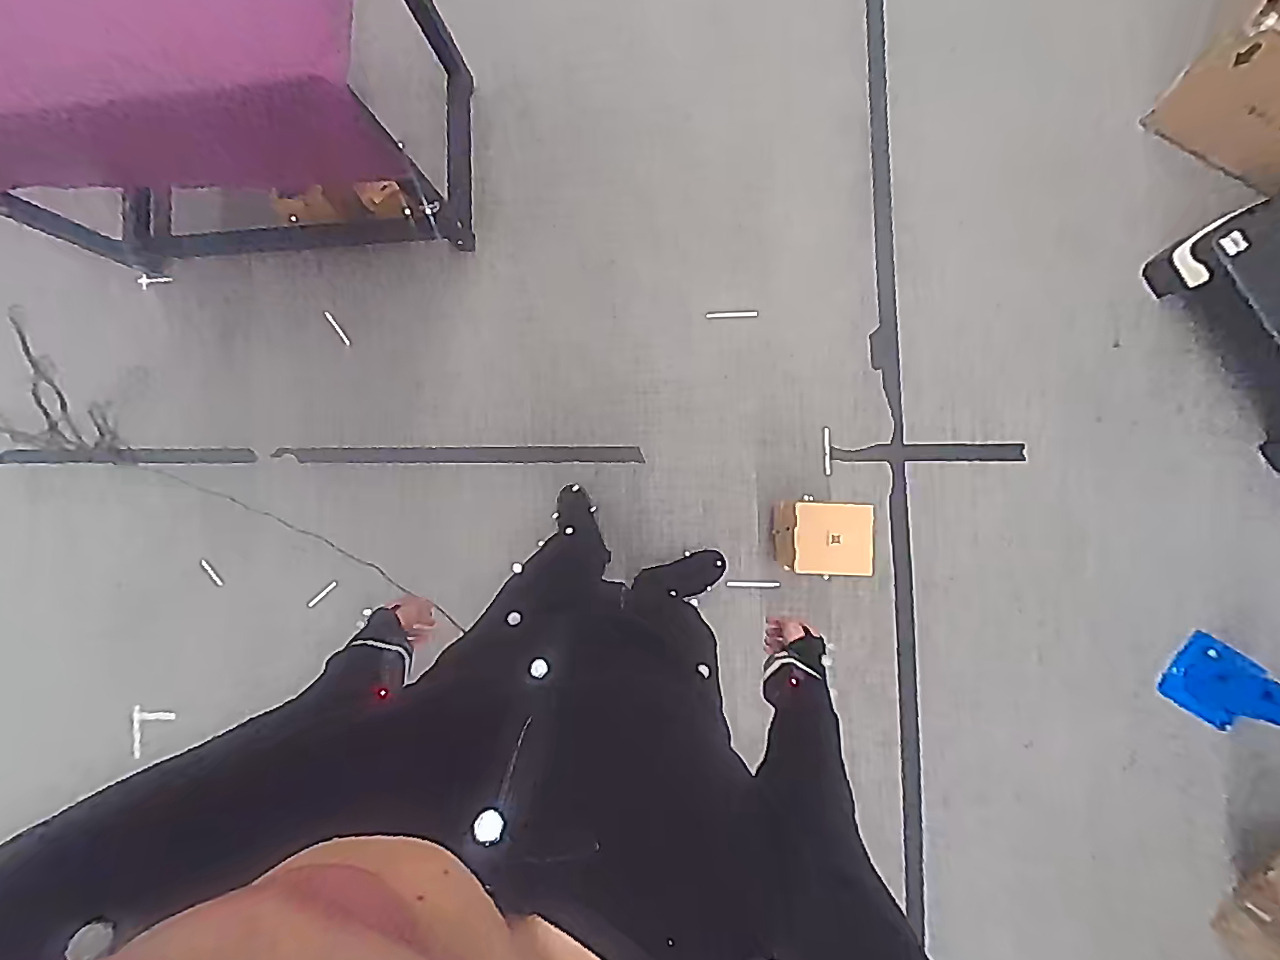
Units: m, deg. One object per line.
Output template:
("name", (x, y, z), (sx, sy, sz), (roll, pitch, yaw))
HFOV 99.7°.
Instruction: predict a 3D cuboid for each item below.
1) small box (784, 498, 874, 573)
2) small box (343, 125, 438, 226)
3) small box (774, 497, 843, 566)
("small box", (0.457, 0.131, 1.327), (0.179, 0.176, 0.168), (2, 89, 8))
("small box", (-0.764, -0.933, 1.671), (0.168, 0.176, 0.179), (-30, 85, 5))
("small box", (0.465, 0.138, 1.491), (0.168, 0.176, 0.179), (-3, 88, 7))
